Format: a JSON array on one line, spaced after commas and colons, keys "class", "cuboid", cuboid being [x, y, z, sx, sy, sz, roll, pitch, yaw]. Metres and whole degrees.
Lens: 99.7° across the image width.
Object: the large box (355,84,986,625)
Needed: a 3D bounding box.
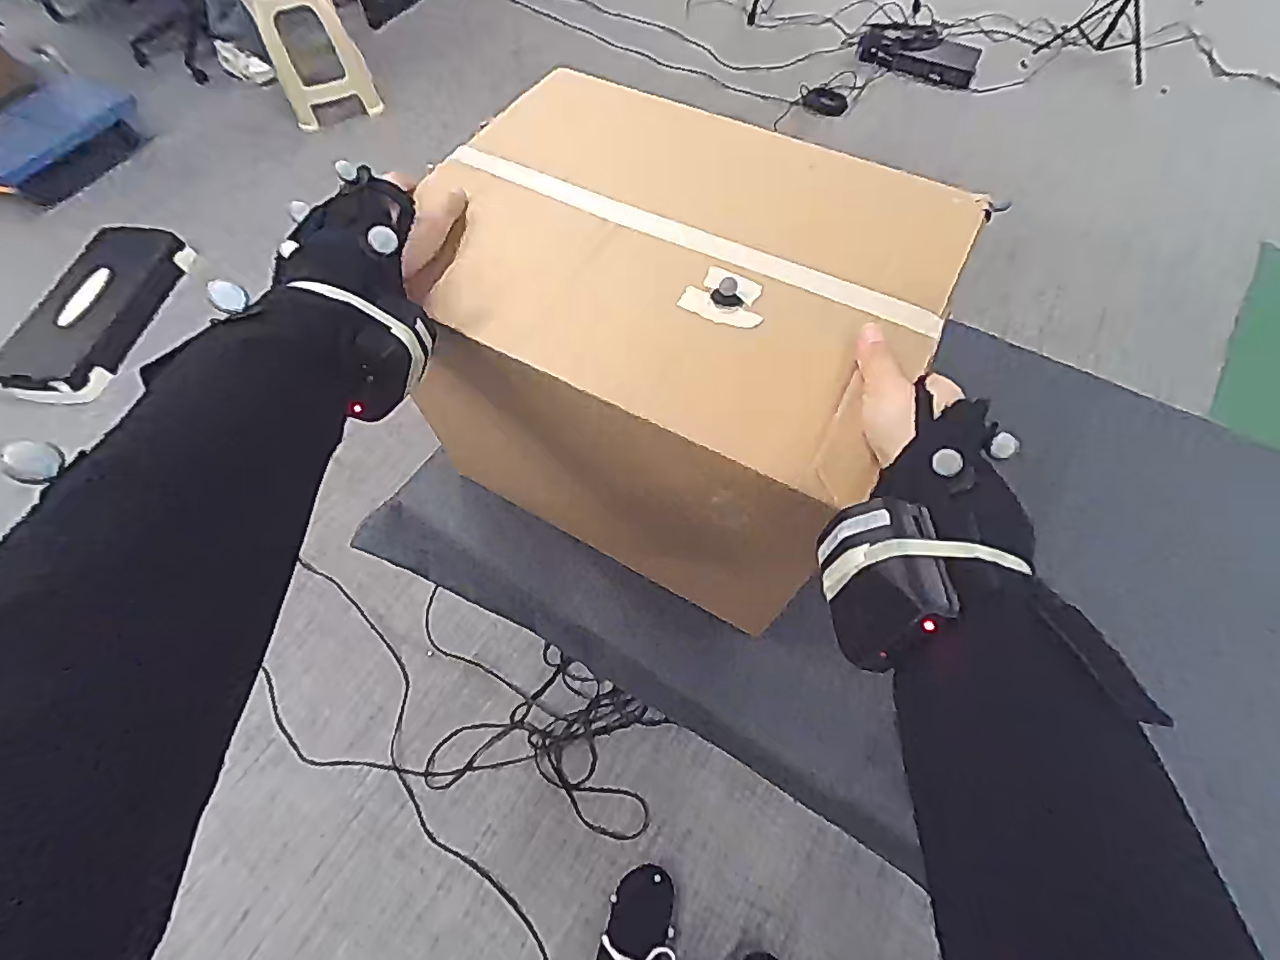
[{"class": "large box", "cuboid": [0.031, -0.111, 0.546, 0.408, 0.320, 0.320, 27, 66, 13]}]
